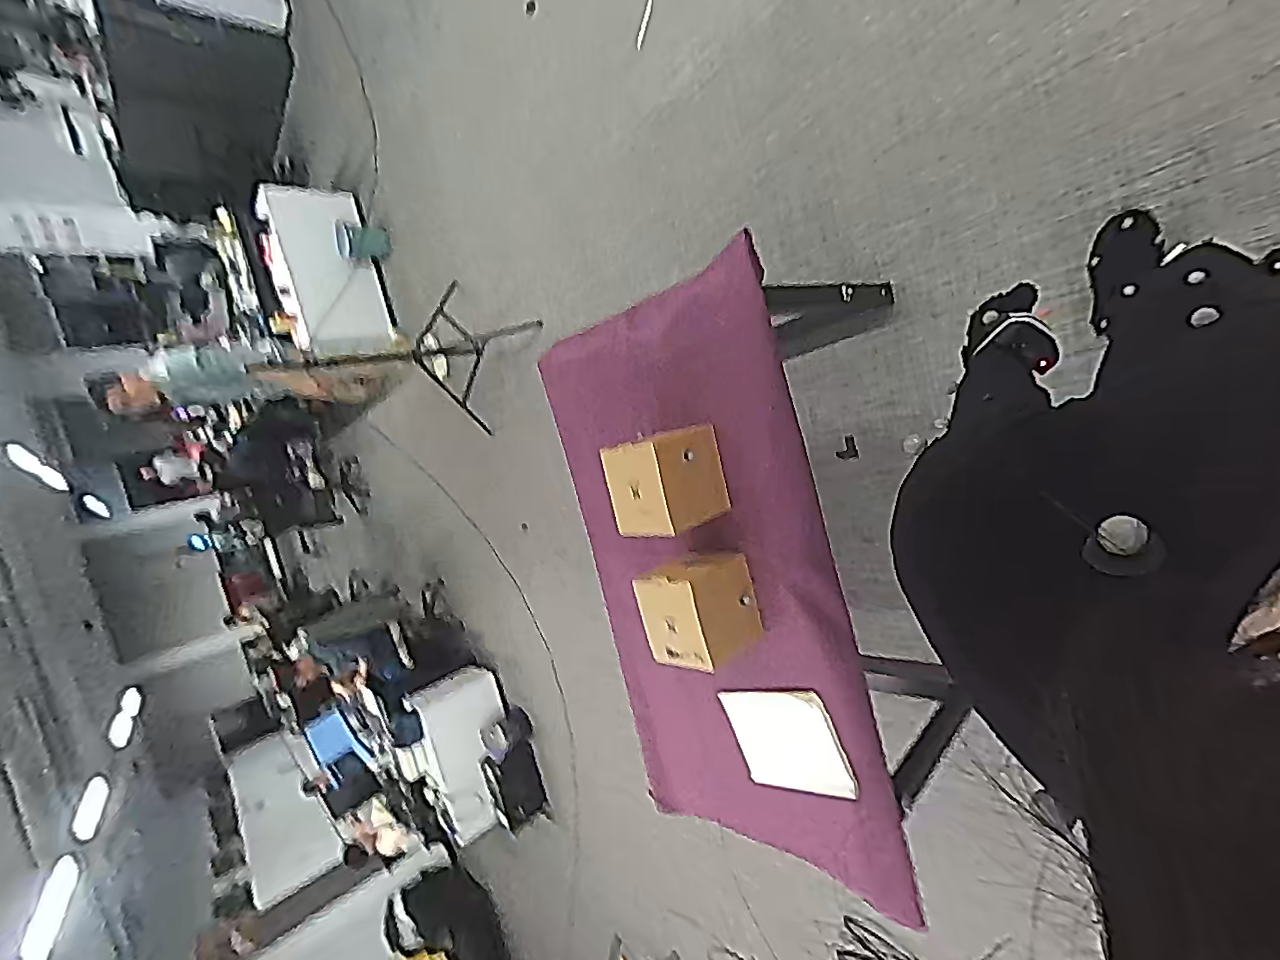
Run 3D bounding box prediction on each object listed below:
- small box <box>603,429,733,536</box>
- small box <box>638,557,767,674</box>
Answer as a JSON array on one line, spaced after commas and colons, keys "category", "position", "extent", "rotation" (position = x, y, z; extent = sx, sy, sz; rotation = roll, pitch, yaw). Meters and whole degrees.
[{"category": "small box", "position": [0.057, 0.002, 1.065], "extent": [0.168, 0.176, 0.179], "rotation": [-6, 101, 52]}, {"category": "small box", "position": [0.126, 0.258, 1.081], "extent": [0.168, 0.176, 0.179], "rotation": [-12, 94, 51]}]
